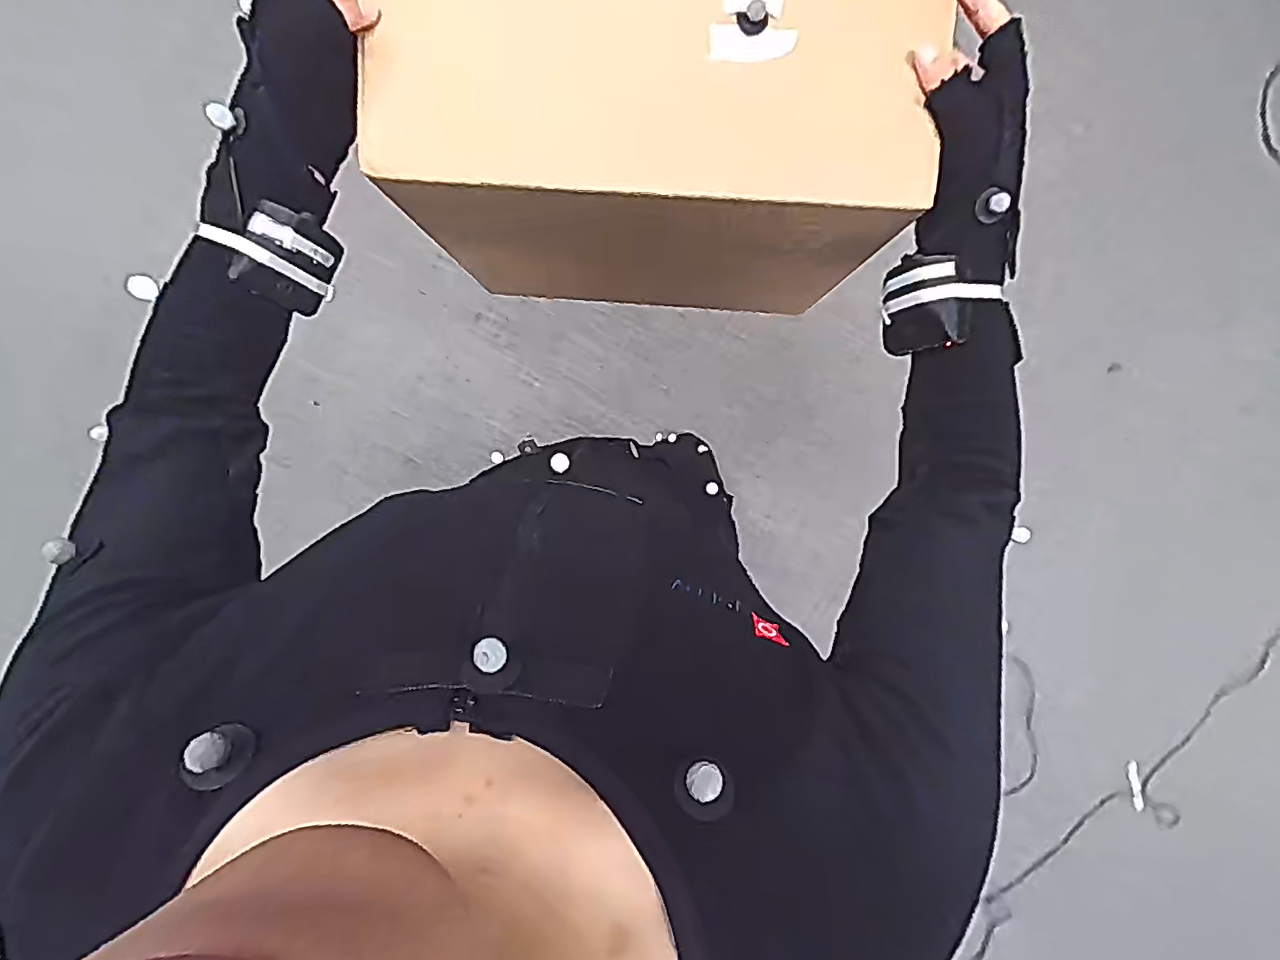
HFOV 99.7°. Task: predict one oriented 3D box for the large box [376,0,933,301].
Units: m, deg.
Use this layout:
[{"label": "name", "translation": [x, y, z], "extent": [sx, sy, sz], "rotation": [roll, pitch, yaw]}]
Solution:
[{"label": "large box", "translation": [0.011, -0.376, 0.532], "extent": [0.408, 0.320, 0.320], "rotation": [3, 94, 0]}]
